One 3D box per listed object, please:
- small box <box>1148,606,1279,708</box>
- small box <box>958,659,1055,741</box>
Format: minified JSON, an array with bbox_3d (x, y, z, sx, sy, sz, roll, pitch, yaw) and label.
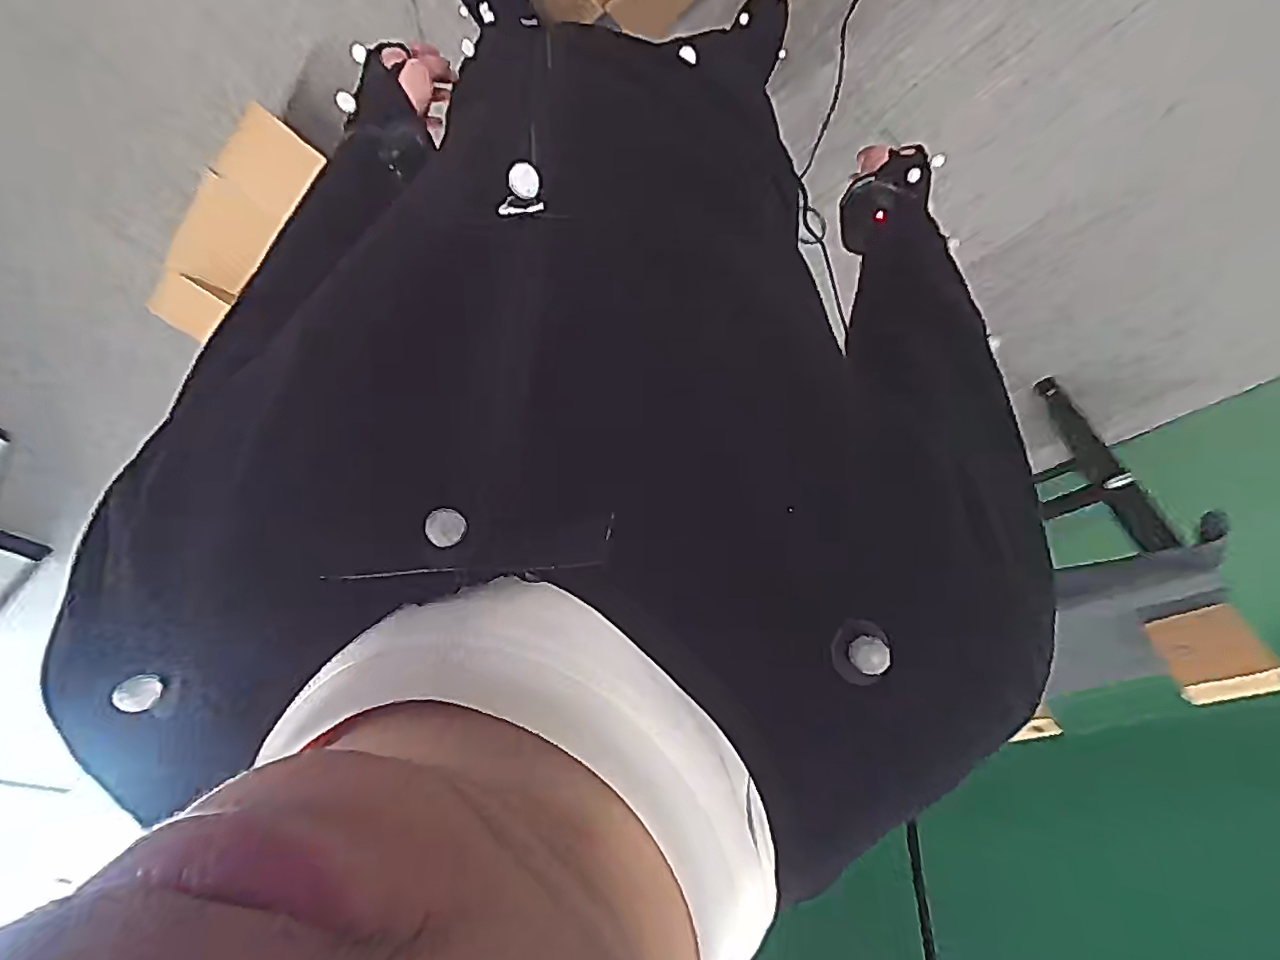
[{"bbox_3d":[1.403,0.435,1.326,0.168,0.176,0.179,32,130,-30],"label":"small box"},{"bbox_3d":[1.080,0.651,1.602,0.179,0.176,0.168,-26,129,28],"label":"small box"}]
